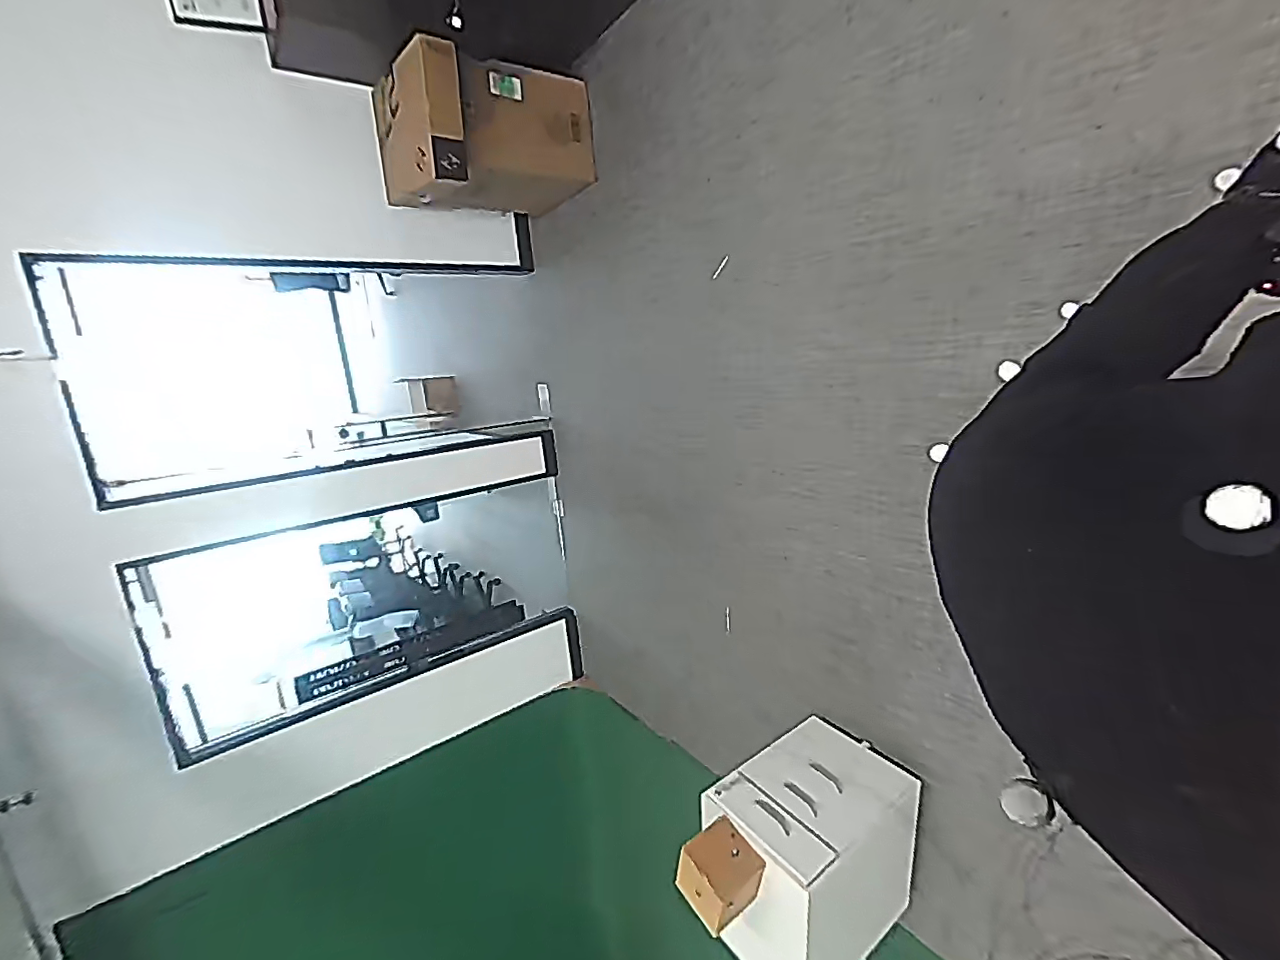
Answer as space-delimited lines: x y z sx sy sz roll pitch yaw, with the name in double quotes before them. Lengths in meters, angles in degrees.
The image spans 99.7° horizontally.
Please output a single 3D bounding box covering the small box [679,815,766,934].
"small box" 0.229 1.093 1.507 0.168 0.176 0.179 33 127 45
